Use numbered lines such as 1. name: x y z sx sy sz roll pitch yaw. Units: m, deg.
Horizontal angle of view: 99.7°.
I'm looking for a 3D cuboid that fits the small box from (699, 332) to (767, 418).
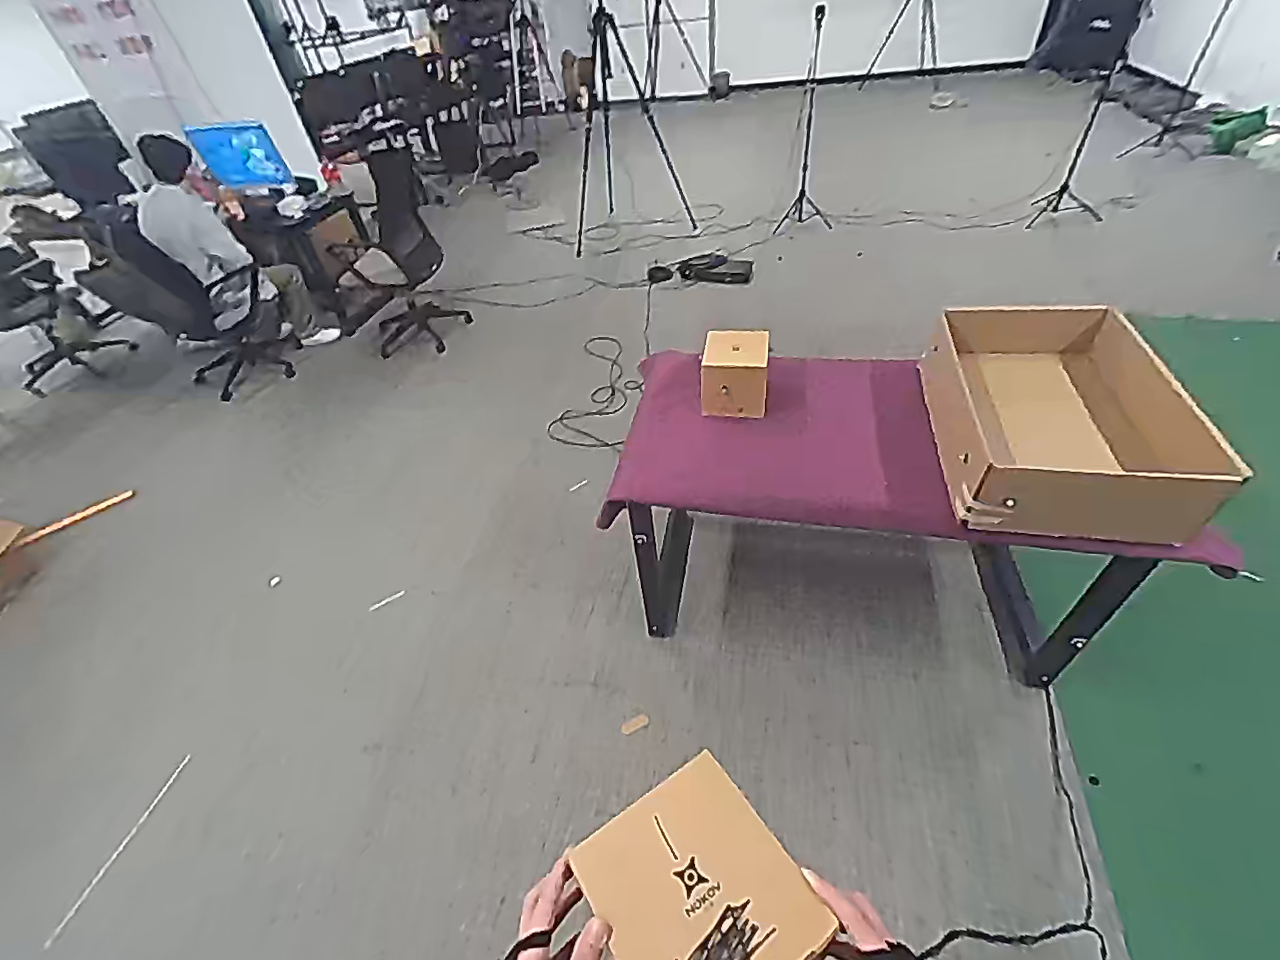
1. small box: 0.256 -0.284 1.469 0.168 0.176 0.179 4 44 12
